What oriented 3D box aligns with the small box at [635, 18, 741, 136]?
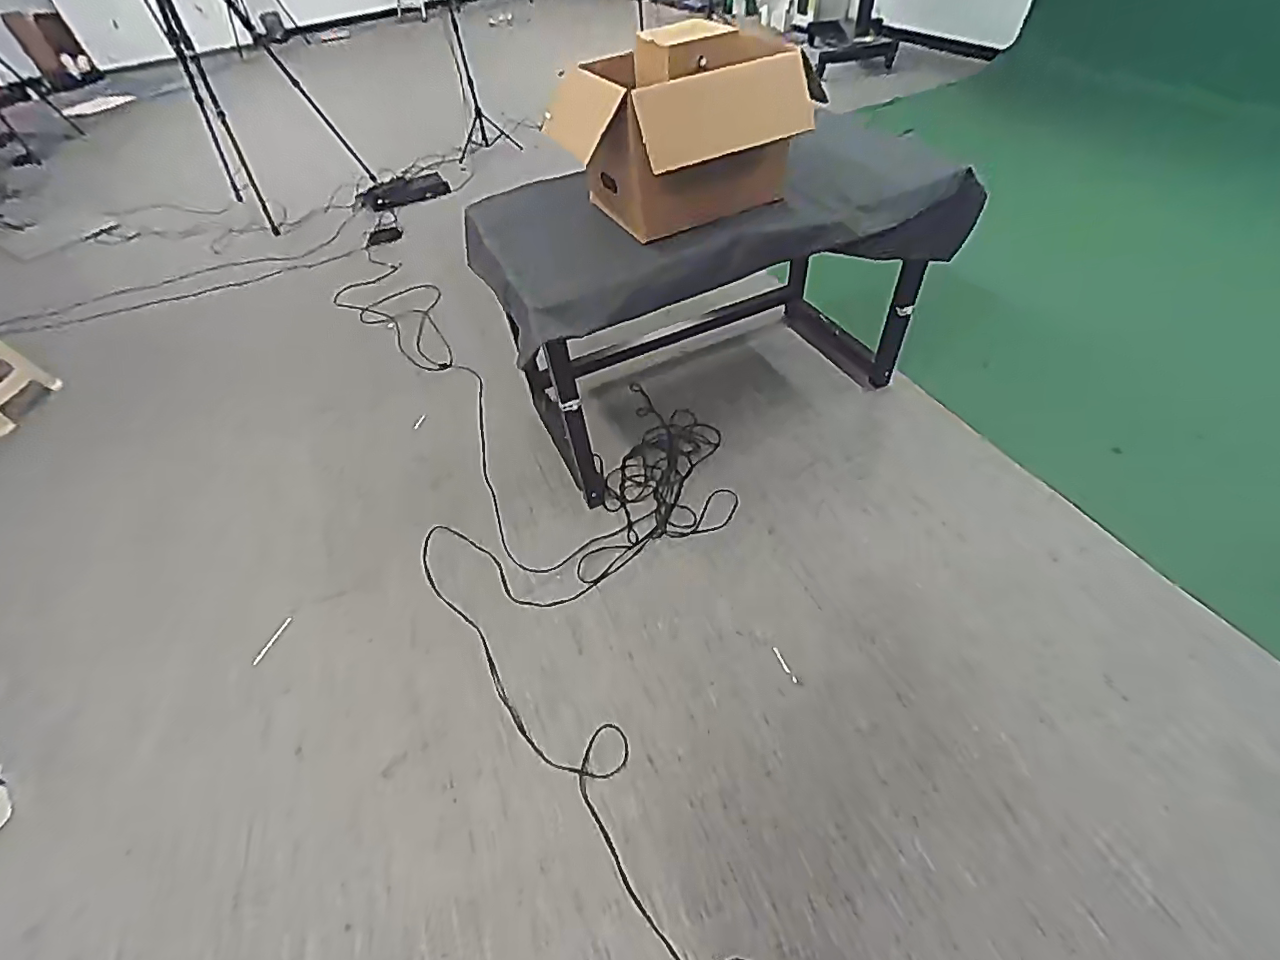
[{"bbox_3d":[0.104,-0.903,1.212,0.179,0.176,0.168,-24,51,-13],"label":"small box"}]
